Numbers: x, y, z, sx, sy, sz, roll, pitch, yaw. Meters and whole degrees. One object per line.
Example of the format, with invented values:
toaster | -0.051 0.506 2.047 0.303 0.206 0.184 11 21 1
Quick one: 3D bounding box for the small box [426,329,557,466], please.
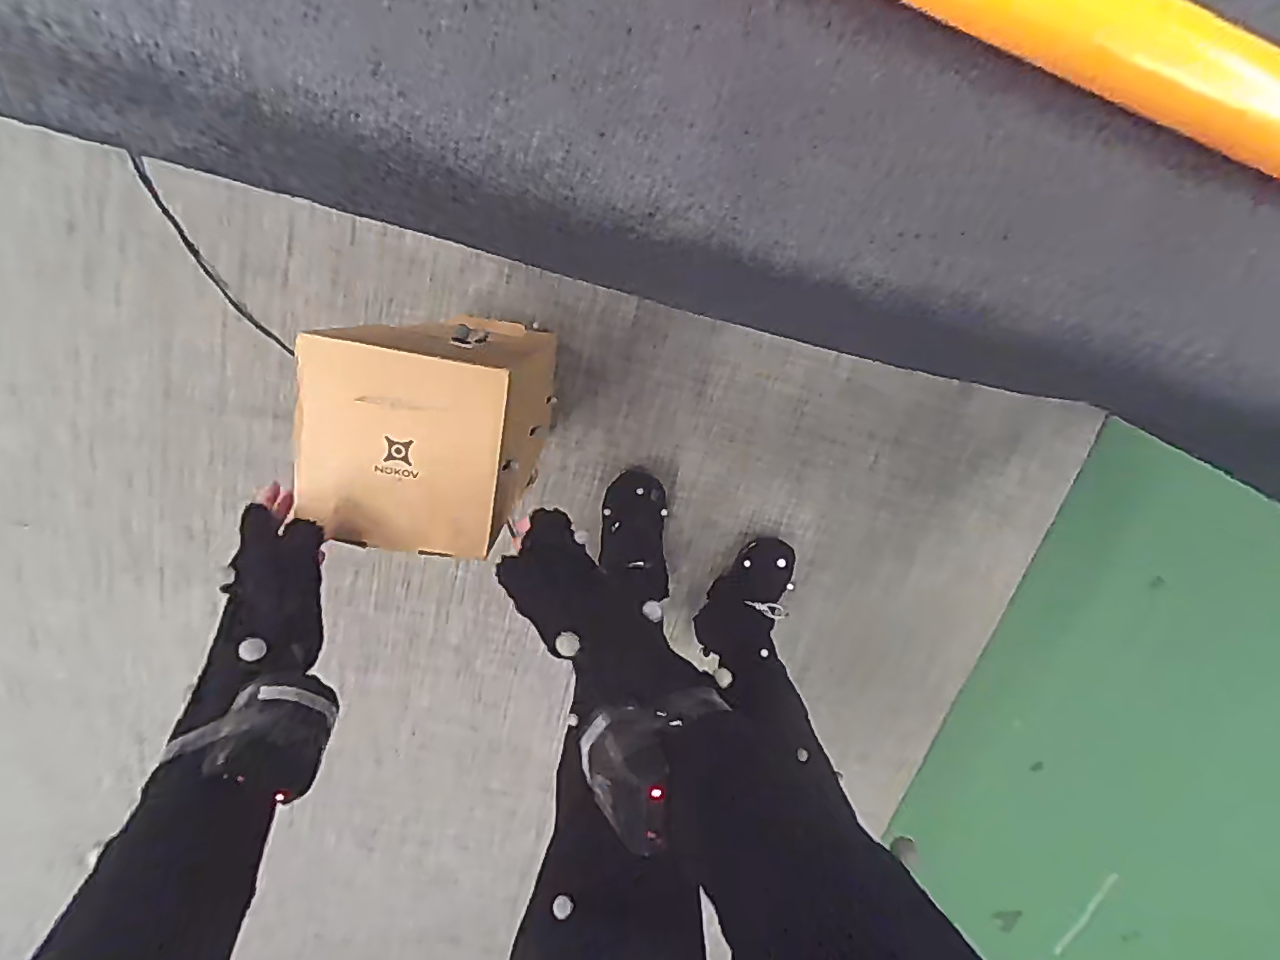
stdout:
small box | -0.223 -0.135 0.841 0.168 0.176 0.179 6 108 -5
